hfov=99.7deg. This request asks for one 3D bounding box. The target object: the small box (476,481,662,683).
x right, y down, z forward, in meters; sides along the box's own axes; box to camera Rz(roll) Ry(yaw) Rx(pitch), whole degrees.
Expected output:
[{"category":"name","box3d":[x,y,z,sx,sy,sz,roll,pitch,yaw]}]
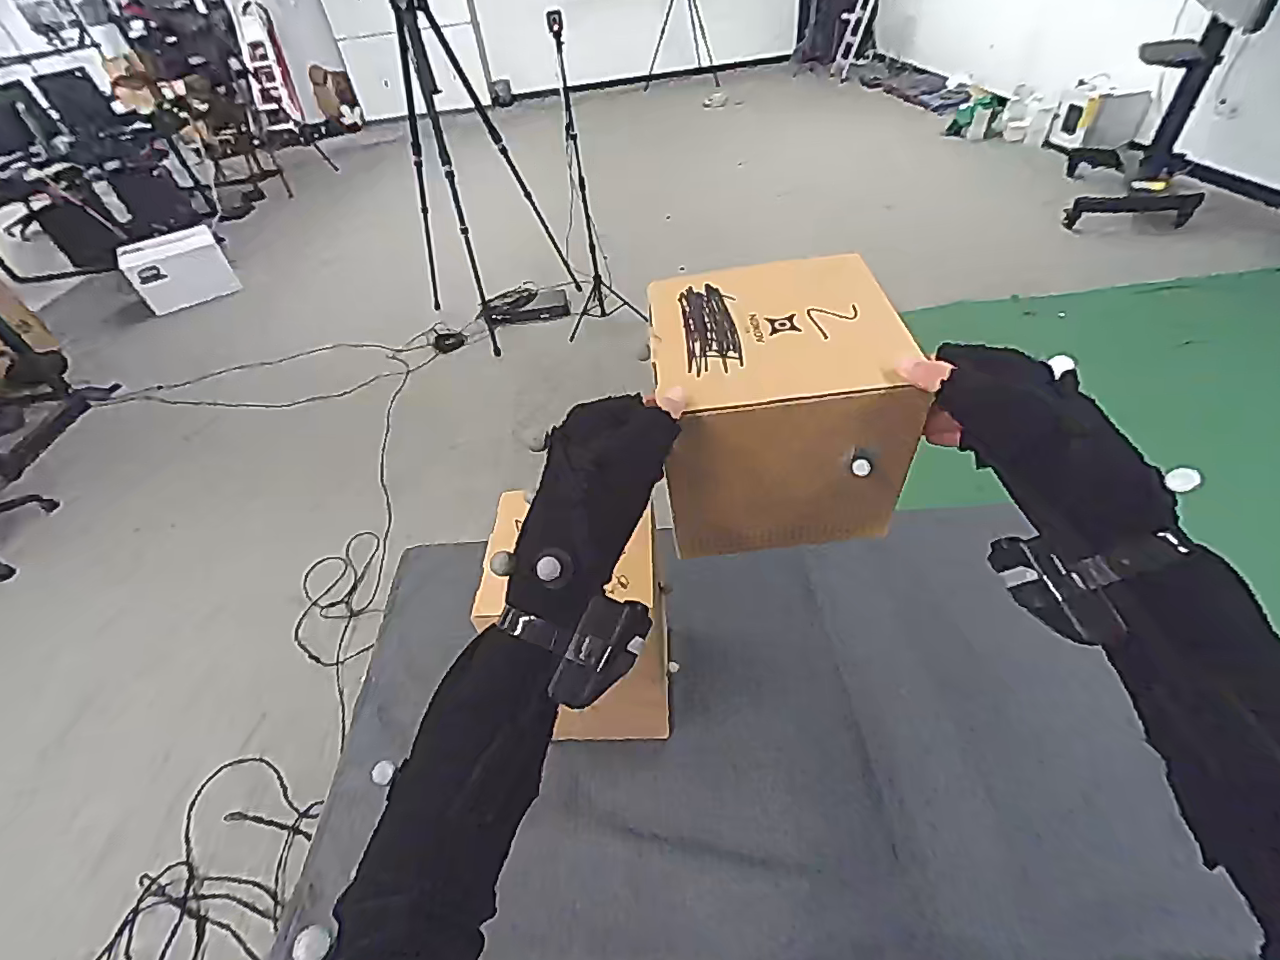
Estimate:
[{"category":"small box","box3d":[-0.064,0.120,0.623,0.179,0.176,0.168,-4,44,3]}]

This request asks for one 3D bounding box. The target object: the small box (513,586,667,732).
[{"category":"small box","box3d":[-0.055,0.233,0.743,0.179,0.176,0.168,-2,45,4]}]
